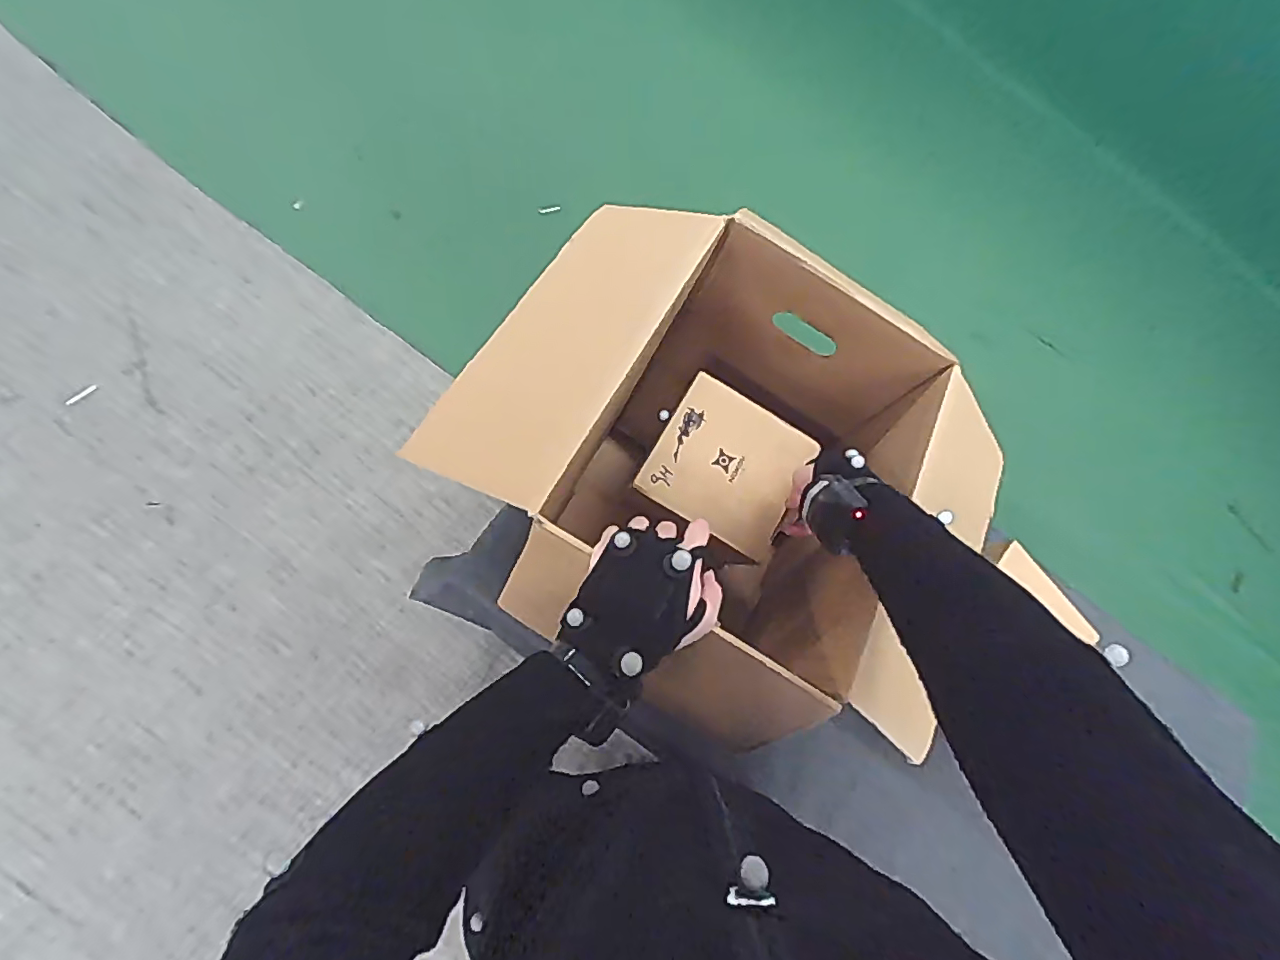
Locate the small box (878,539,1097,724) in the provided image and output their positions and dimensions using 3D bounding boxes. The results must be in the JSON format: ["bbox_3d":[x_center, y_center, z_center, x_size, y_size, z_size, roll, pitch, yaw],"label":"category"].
[{"bbox_3d":[0.473,0.213,0.765,0.179,0.176,0.168,-36,85,-23],"label":"small box"}]
